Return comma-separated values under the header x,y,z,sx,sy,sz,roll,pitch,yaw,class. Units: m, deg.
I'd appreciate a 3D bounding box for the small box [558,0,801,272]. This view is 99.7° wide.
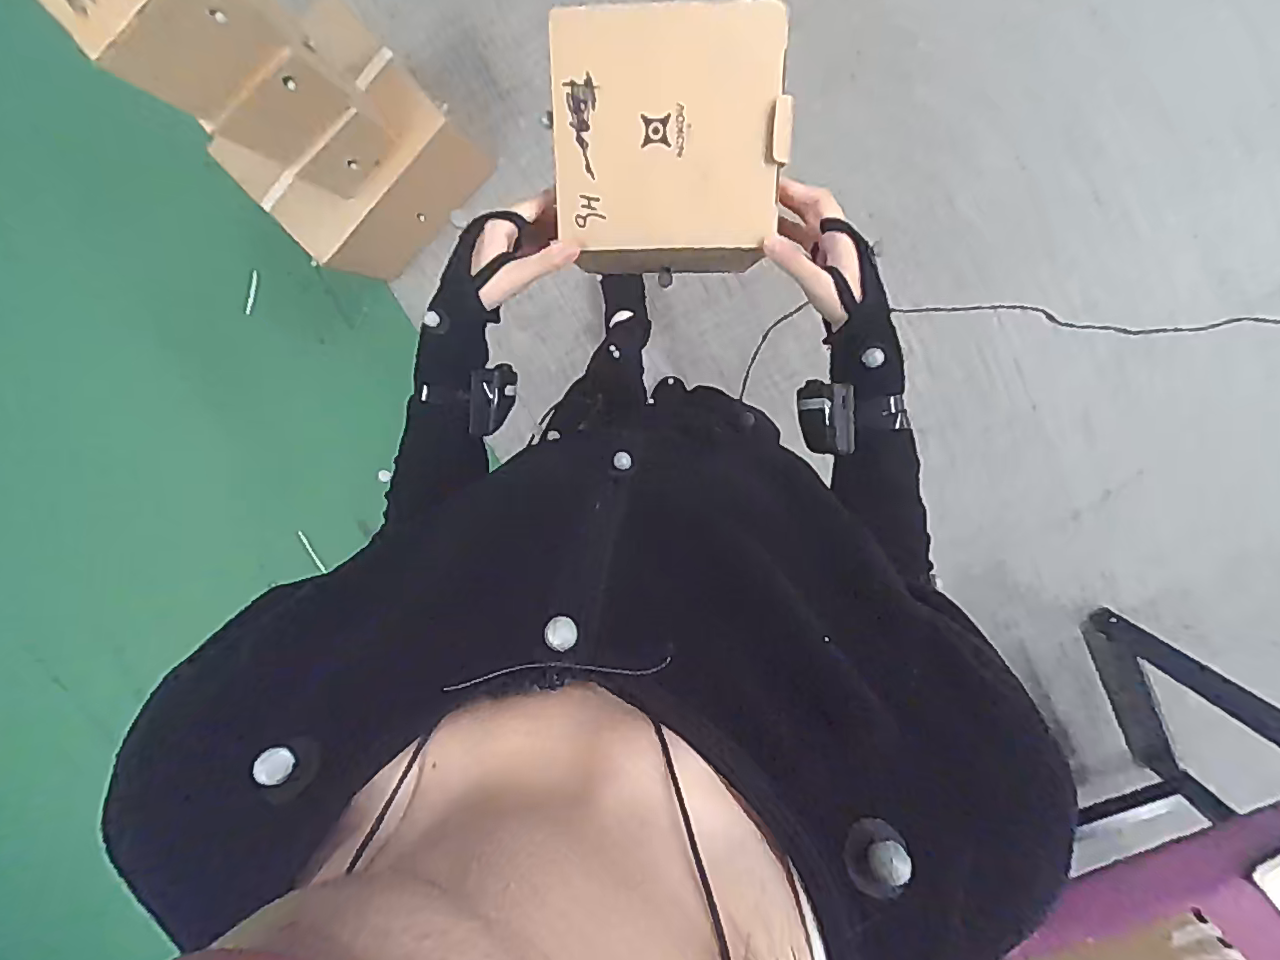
x,y,z,sx,sy,sz,roll,pitch,yaw,class
0.026,-0.284,0.478,0.179,0.176,0.168,1,103,0,small box

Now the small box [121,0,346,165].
x,y,z,sx,sy,sz,roll,pitch,yaw,class
-0.598,-0.624,0.821,0.179,0.176,0.168,-36,100,9,small box

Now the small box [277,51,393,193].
x,y,z,sx,sy,sz,roll,pitch,yaw,class
-0.591,-0.653,0.980,0.168,0.176,0.179,-37,99,9,small box

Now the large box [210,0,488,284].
x,y,z,sx,sy,sz,roll,pitch,yaw,class
-0.622,-0.714,1.220,0.408,0.320,0.320,-42,97,12,large box
